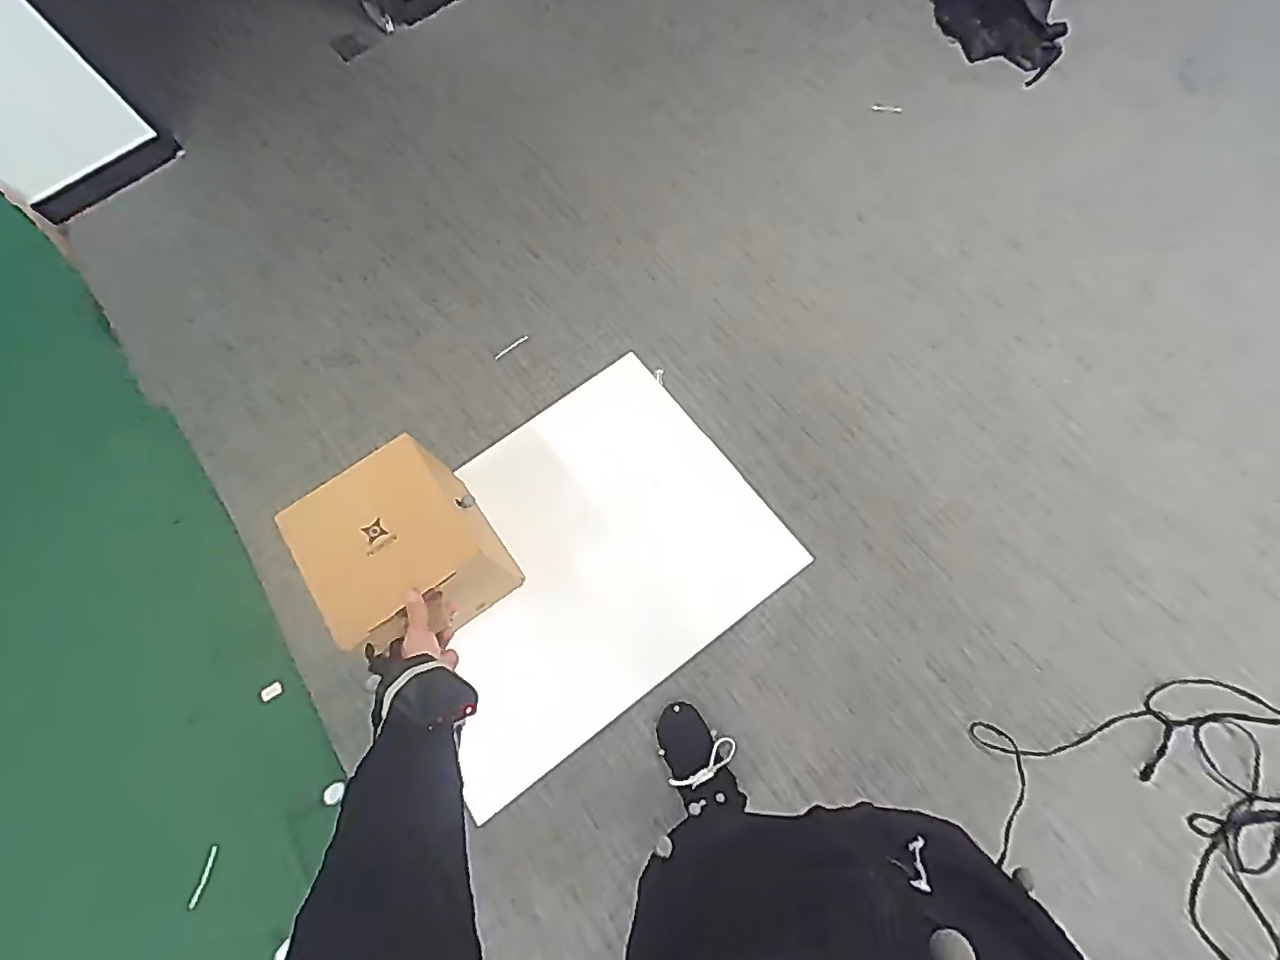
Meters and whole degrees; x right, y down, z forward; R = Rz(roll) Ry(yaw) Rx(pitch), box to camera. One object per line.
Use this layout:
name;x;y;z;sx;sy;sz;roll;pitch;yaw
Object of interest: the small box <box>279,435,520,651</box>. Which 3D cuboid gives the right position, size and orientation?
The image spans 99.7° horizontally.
small box;-0.269;0.084;0.639;0.168;0.176;0.179;-35;73;-9
